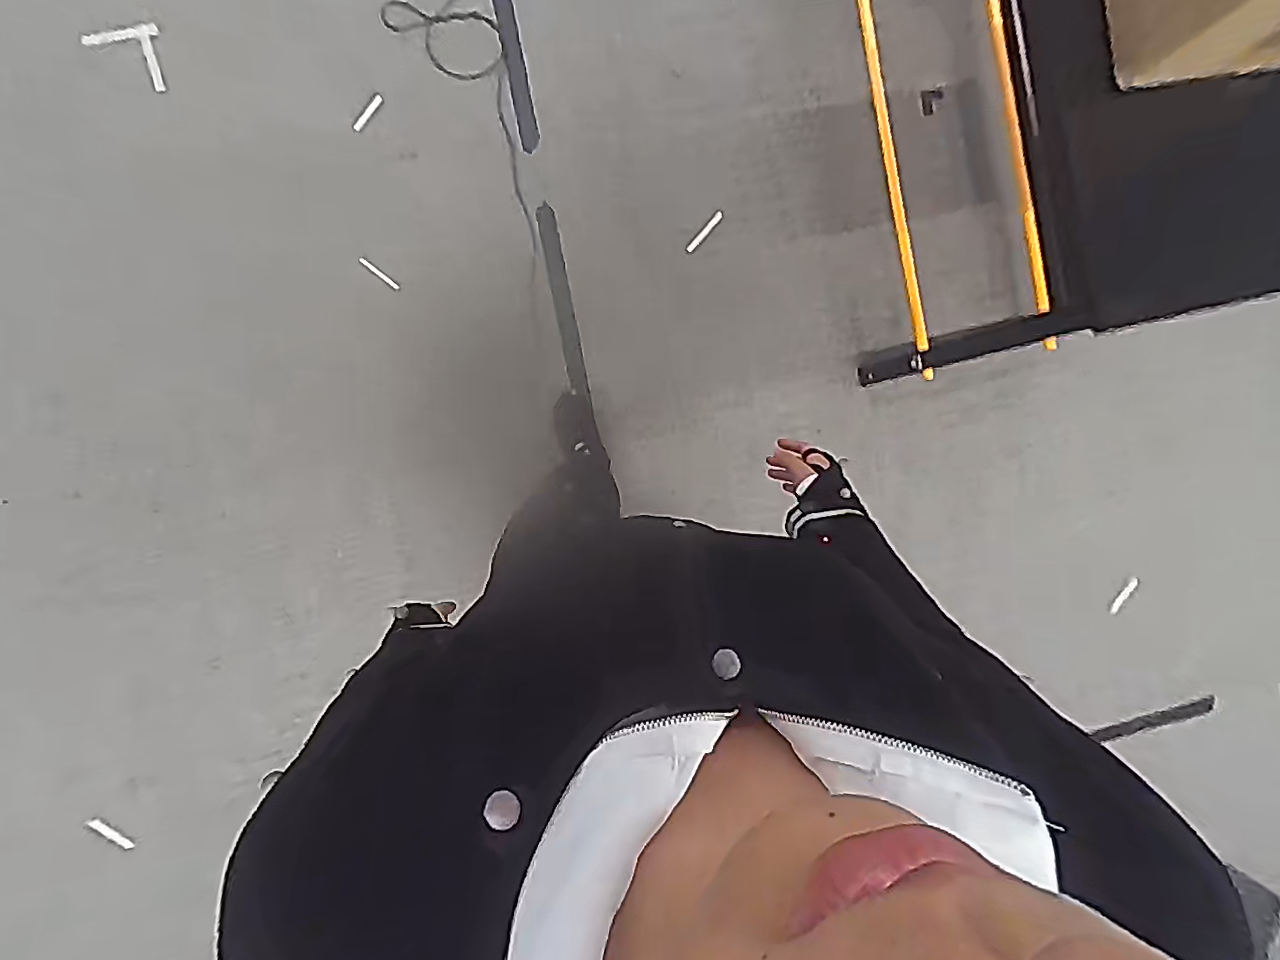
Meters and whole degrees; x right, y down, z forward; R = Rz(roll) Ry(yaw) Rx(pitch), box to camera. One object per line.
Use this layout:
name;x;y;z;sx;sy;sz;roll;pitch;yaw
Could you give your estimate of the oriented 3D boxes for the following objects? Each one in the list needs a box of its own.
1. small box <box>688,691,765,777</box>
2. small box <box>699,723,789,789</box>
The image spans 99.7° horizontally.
small box;0.240;0.702;1.452;0.168;0.176;0.179;-16;93;-6
small box;0.258;0.722;1.289;0.168;0.176;0.179;-21;95;-6
